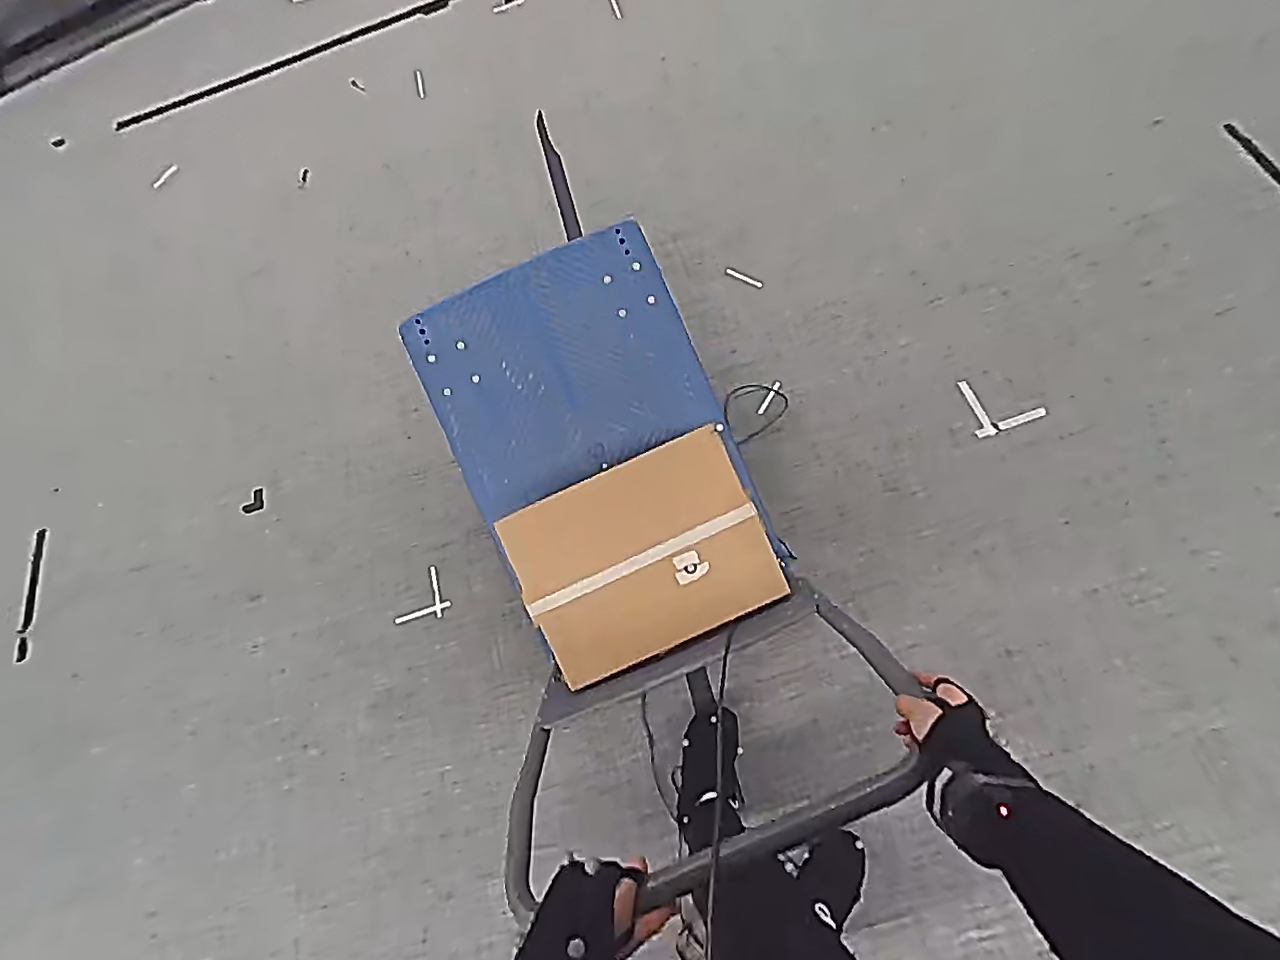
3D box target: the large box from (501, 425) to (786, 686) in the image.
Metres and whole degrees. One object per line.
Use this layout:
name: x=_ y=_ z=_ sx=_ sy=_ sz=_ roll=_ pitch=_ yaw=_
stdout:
large box: x=0.004 y=0.127 z=1.056 sx=0.408 sy=0.320 sz=0.320 roll=-25 pitch=92 yaw=0
